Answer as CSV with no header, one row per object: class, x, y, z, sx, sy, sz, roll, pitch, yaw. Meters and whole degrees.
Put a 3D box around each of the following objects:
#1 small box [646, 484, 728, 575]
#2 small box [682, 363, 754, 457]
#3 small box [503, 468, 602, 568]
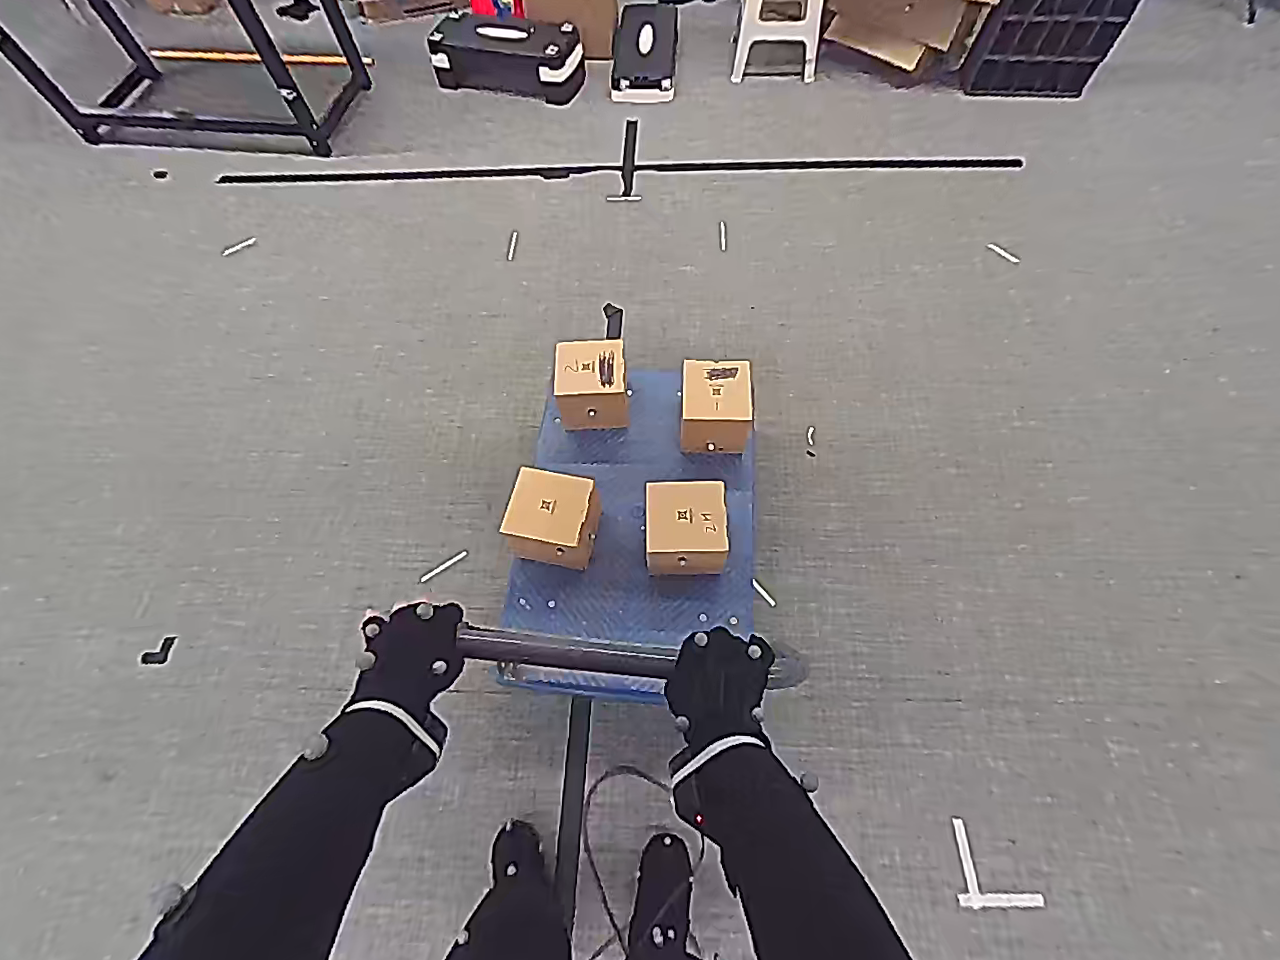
small box,0.105,0.118,1.246,0.179,0.176,0.168,0,64,2
small box,0.195,-0.178,1.386,0.168,0.176,0.179,2,65,3
small box,-0.197,0.094,1.270,0.179,0.176,0.168,11,65,6
